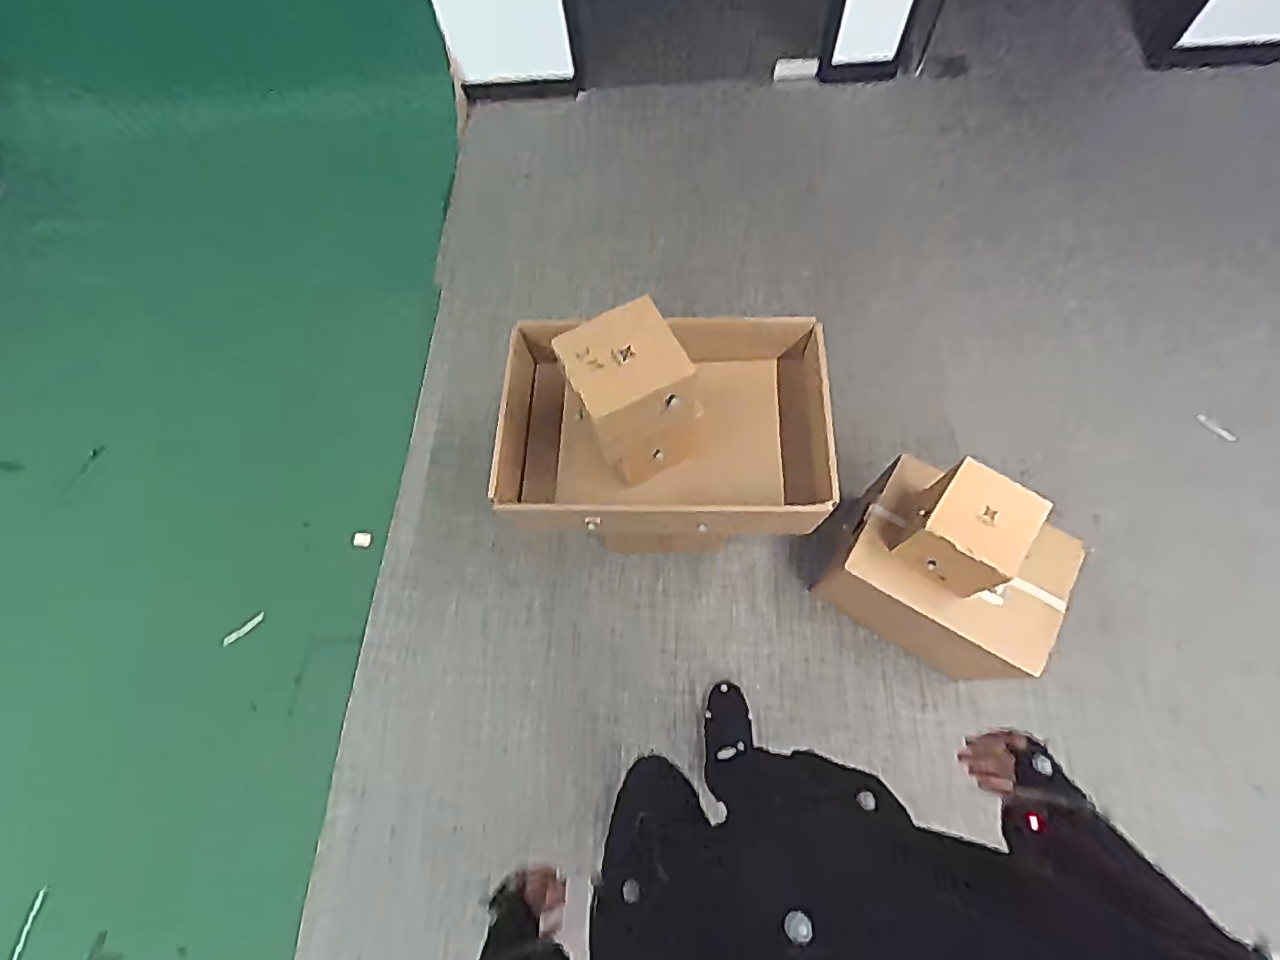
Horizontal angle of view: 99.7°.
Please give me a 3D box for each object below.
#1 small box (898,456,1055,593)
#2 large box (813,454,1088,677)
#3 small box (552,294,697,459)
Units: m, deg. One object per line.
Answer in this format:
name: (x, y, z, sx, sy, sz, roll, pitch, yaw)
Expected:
small box: (0.628, 0.090, 1.033, 0.168, 0.176, 0.179, 34, 74, 15)
large box: (0.676, 0.207, 1.246, 0.408, 0.320, 0.320, 30, 74, 13)
small box: (-0.021, -0.162, 0.891, 0.179, 0.176, 0.168, -27, 69, -5)
